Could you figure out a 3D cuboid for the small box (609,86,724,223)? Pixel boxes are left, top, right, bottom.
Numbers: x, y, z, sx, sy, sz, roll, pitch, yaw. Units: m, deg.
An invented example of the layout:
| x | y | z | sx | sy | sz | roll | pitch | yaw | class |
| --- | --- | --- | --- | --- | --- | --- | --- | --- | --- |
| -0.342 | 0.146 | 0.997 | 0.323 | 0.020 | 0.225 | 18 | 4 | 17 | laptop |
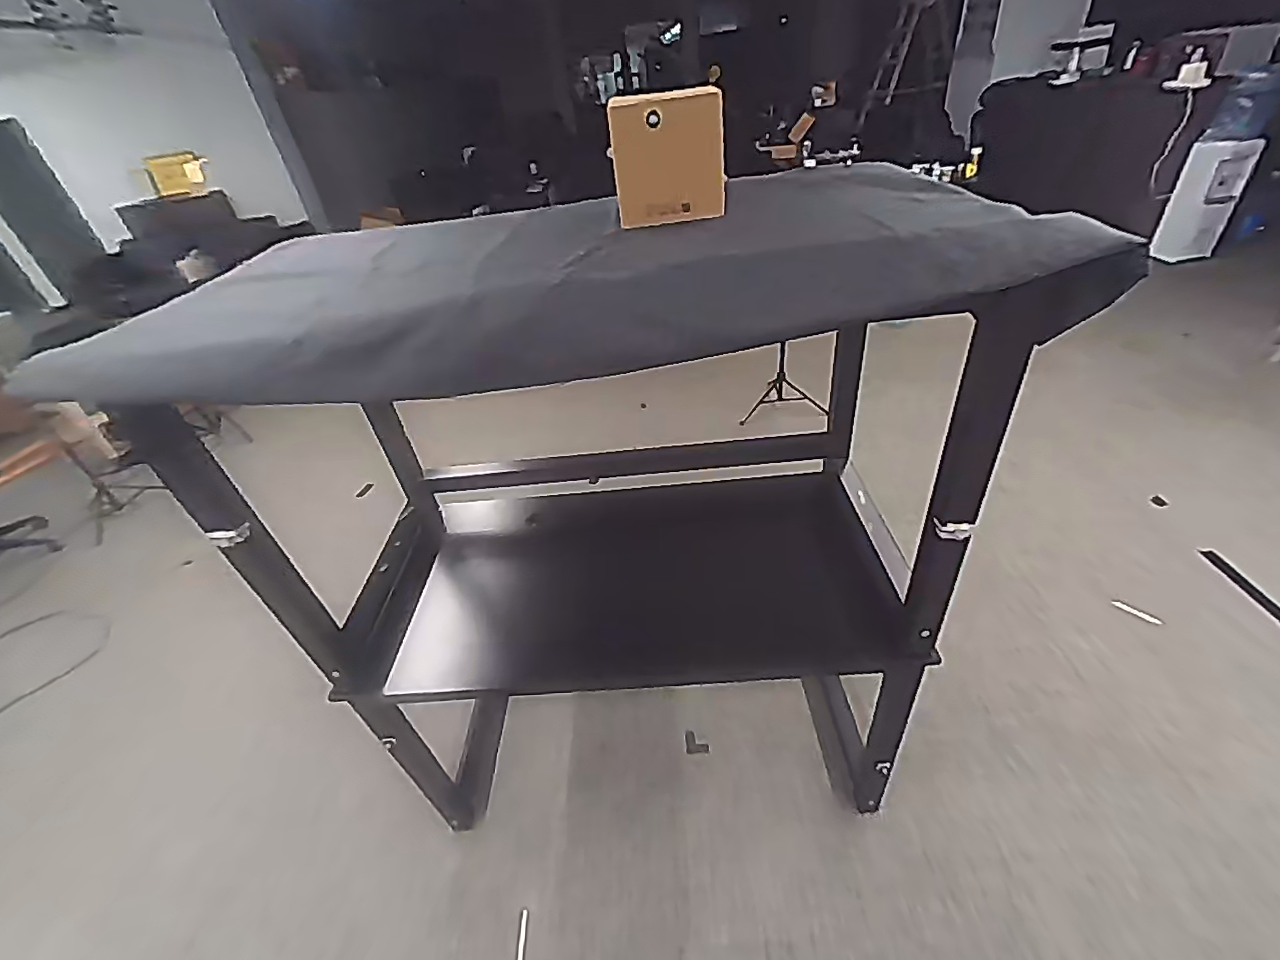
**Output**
| x | y | z | sx | sy | sz | roll | pitch | yaw | class |
| --- | --- | --- | --- | --- | --- | --- | --- | --- | --- |
| 0.045 | -0.532 | 0.886 | 0.168 | 0.176 | 0.179 | -6 | 36 | 4 | small box |
